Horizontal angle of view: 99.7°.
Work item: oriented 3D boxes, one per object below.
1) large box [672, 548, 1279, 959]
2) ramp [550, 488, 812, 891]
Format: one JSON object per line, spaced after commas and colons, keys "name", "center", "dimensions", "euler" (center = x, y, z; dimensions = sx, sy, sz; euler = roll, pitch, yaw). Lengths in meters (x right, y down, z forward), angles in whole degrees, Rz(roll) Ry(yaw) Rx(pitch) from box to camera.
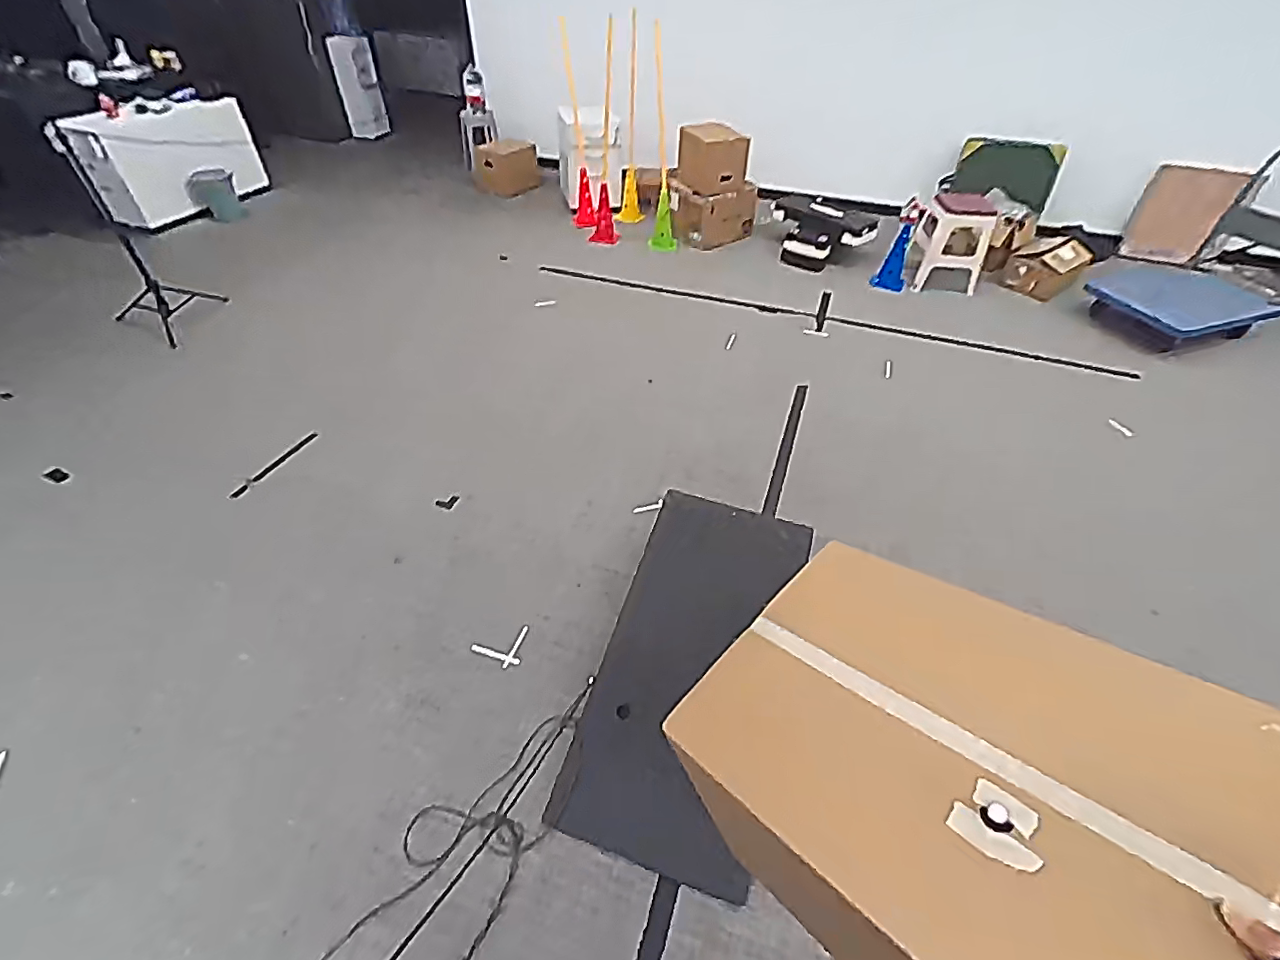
{"name": "large box", "center": [0.307, 0.336, 0.566], "dimensions": [0.320, 0.320, 0.408], "euler": [-39, 37, -23]}
{"name": "ramp", "center": [0.168, 0.474, 1.515], "dimensions": [0.509, 0.206, 0.991], "euler": [14, 46, 10]}
